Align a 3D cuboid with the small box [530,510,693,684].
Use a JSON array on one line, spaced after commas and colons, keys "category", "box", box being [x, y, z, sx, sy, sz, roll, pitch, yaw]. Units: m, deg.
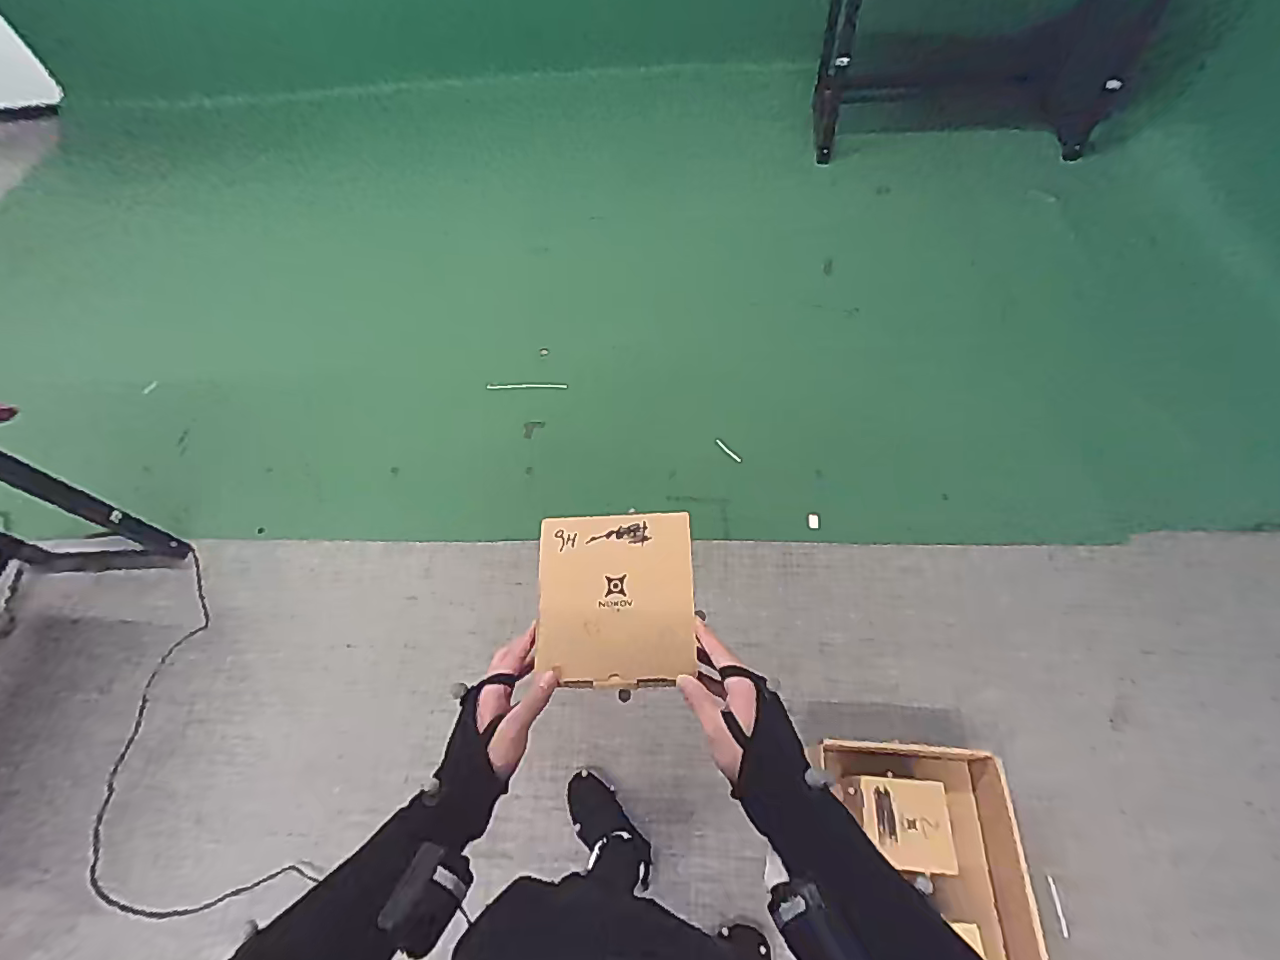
[{"category": "small box", "box": [-0.024, 0.145, 0.638, 0.168, 0.176, 0.179, -3, 68, 4]}]
